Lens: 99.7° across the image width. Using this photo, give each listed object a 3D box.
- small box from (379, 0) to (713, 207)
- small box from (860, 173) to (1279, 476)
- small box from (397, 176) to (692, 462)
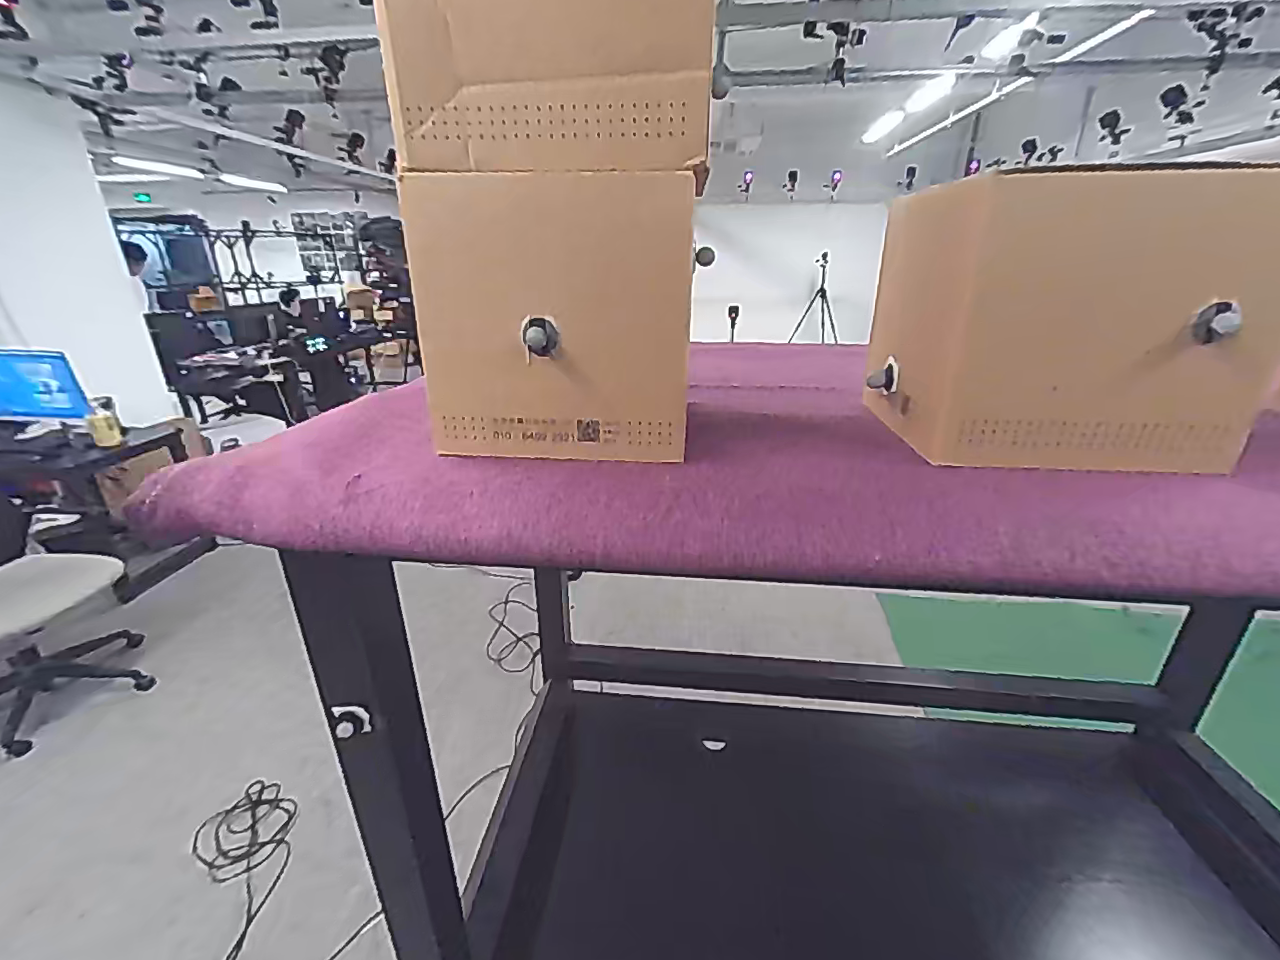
[{"bbox_3d":[-0.045,-0.268,0.337,0.179,0.176,0.168,2,24,3],"label":"small box"},{"bbox_3d":[0.274,-0.107,0.378,0.179,0.176,0.168,1,22,5],"label":"small box"},{"bbox_3d":[-0.047,-0.118,0.400,0.168,0.176,0.179,3,23,4],"label":"small box"}]
